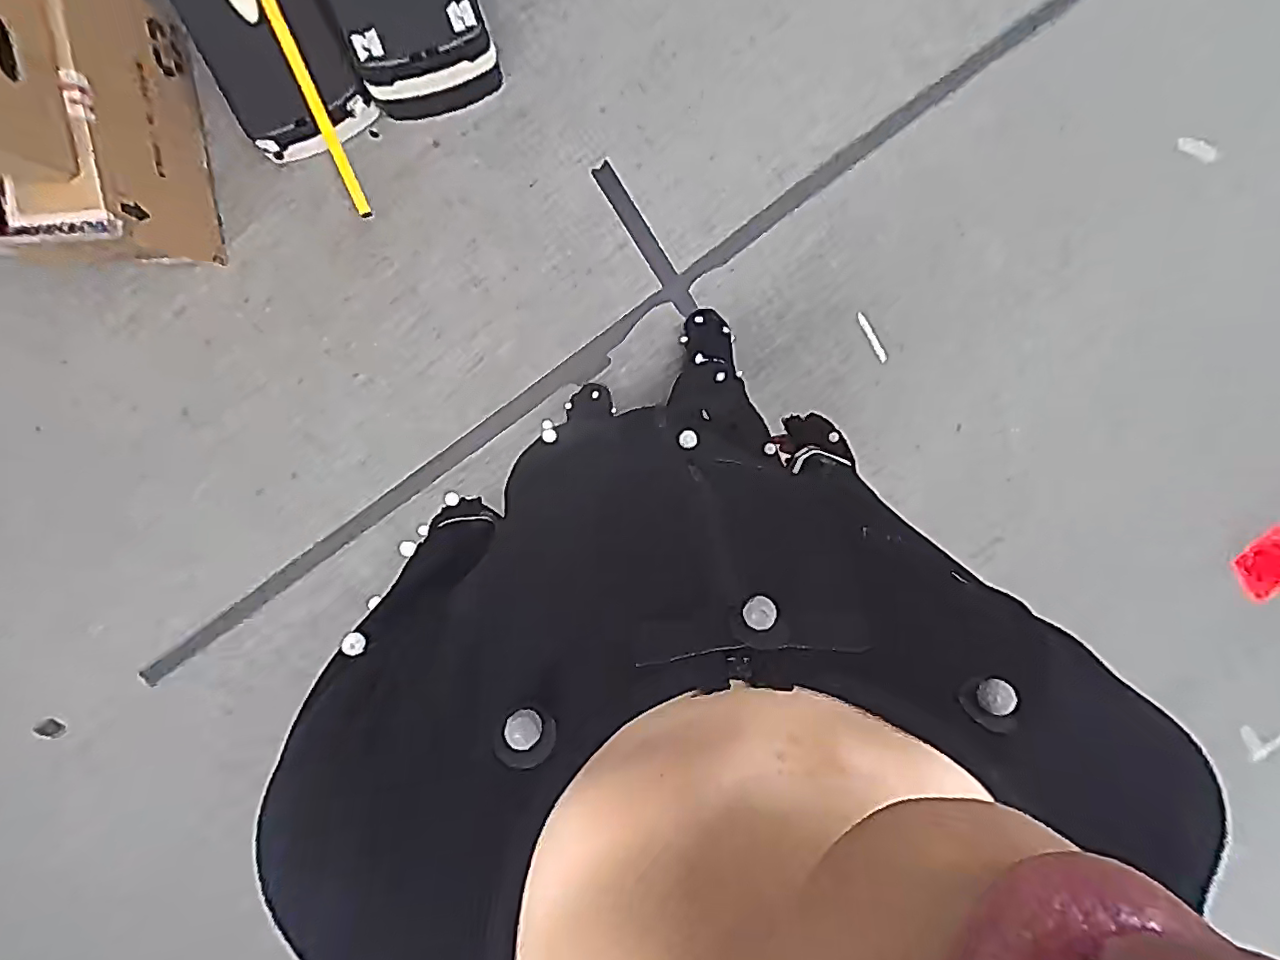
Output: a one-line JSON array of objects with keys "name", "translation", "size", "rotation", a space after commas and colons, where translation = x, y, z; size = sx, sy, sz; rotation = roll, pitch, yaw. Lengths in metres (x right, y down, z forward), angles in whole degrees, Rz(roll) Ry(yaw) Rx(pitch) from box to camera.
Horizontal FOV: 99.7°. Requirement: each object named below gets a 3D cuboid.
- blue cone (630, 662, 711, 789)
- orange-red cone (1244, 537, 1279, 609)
[{"name": "blue cone", "translation": [0.102, 0.673, 1.427], "size": [0.192, 0.380, 0.193], "rotation": [-40, 101, 3]}, {"name": "orange-red cone", "translation": [2.024, 0.312, 1.533], "size": [0.198, 0.360, 0.199], "rotation": [-39, 100, 2]}]
